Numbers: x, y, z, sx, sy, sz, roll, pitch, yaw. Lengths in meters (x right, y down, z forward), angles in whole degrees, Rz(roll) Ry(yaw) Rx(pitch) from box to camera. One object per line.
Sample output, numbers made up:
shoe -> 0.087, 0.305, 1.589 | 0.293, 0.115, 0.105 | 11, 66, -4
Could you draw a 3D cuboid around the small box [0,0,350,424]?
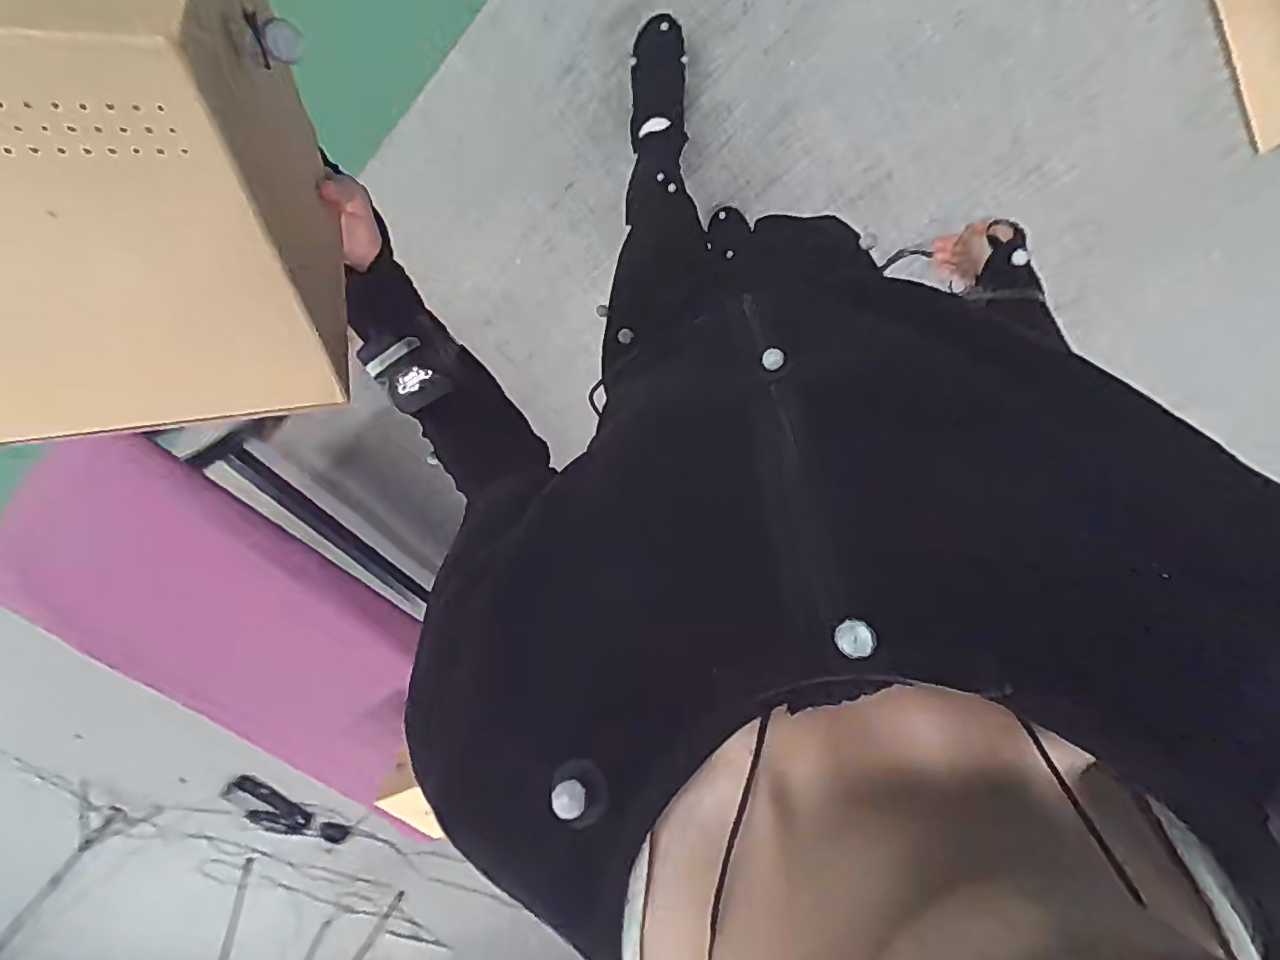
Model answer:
small box -> -0.242, -0.144, 0.224 | 0.179, 0.168, 0.176 | -10, 153, -17
